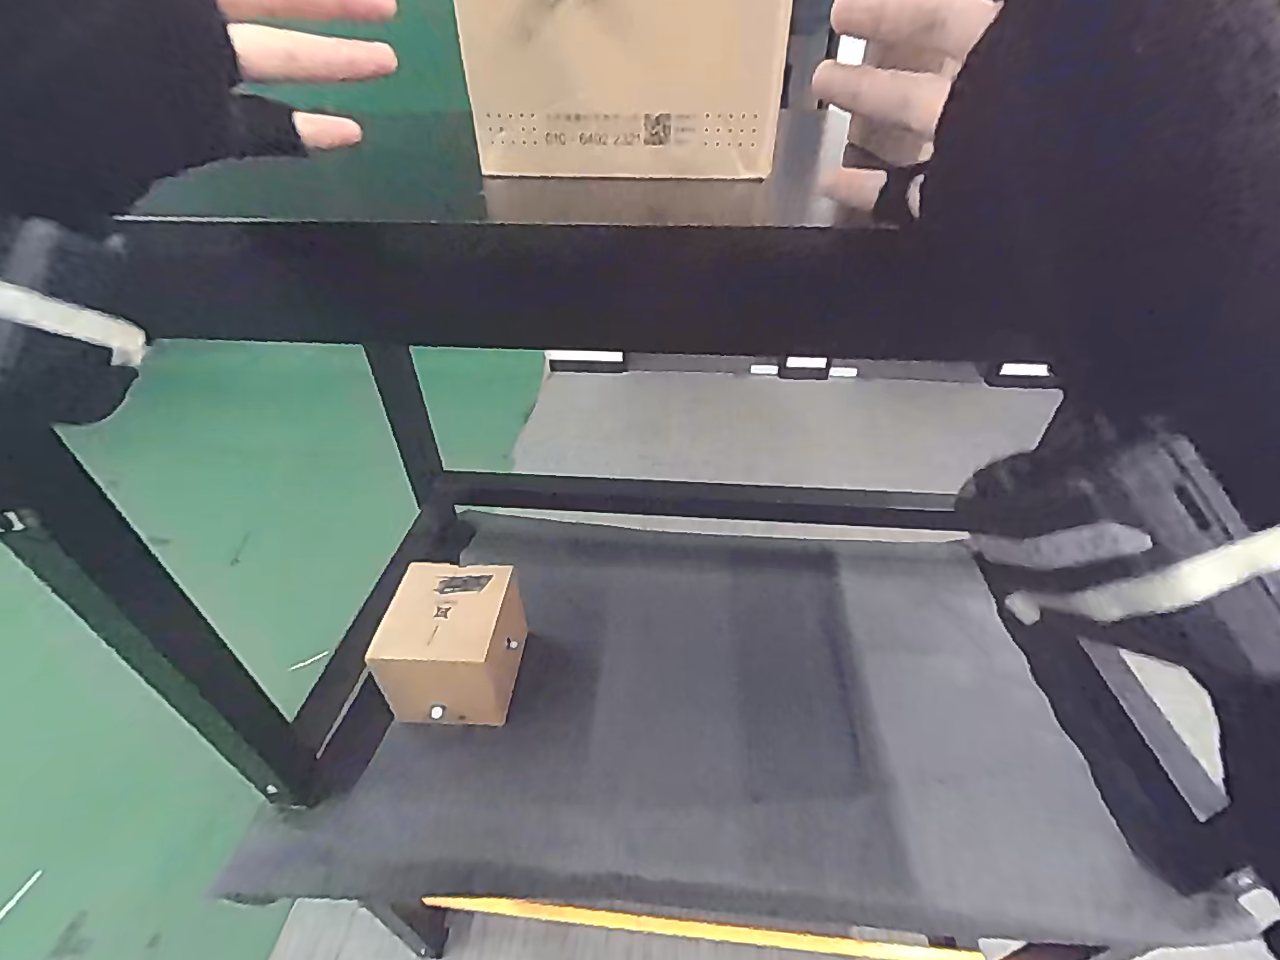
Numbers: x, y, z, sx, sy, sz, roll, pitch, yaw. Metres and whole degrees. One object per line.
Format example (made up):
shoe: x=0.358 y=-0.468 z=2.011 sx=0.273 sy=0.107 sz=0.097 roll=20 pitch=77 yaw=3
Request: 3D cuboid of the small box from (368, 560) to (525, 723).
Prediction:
small box: x=-0.280 y=0.246 z=0.833 sx=0.168 sy=0.176 sz=0.179 roll=1 pitch=38 yaw=3
